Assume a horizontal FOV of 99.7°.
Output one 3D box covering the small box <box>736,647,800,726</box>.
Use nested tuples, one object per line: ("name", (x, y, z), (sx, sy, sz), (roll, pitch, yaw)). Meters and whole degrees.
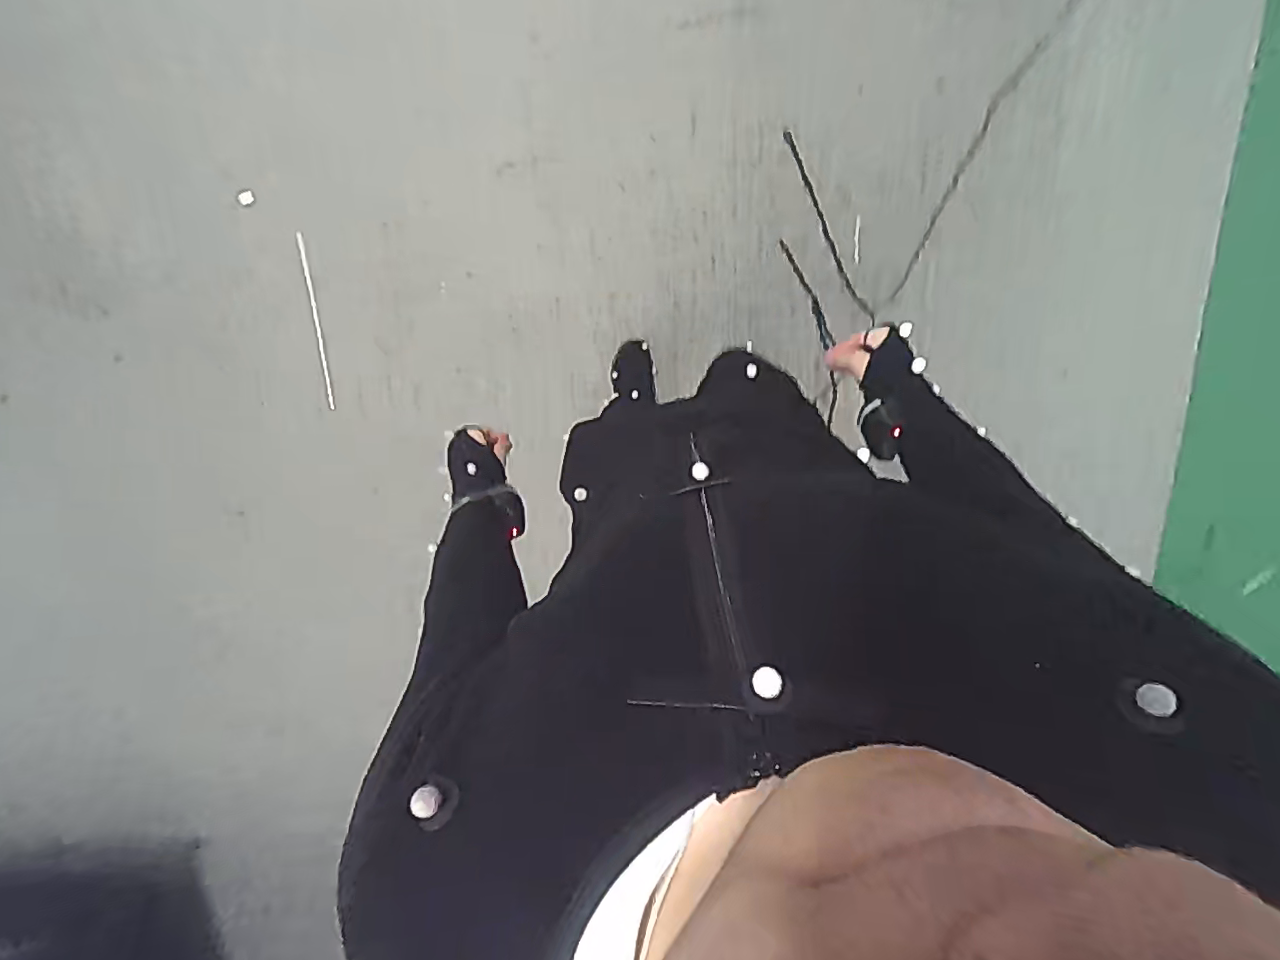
("small box", (0.400, 0.643, 1.707), (0.168, 0.176, 0.179), (-3, 104, 0))
